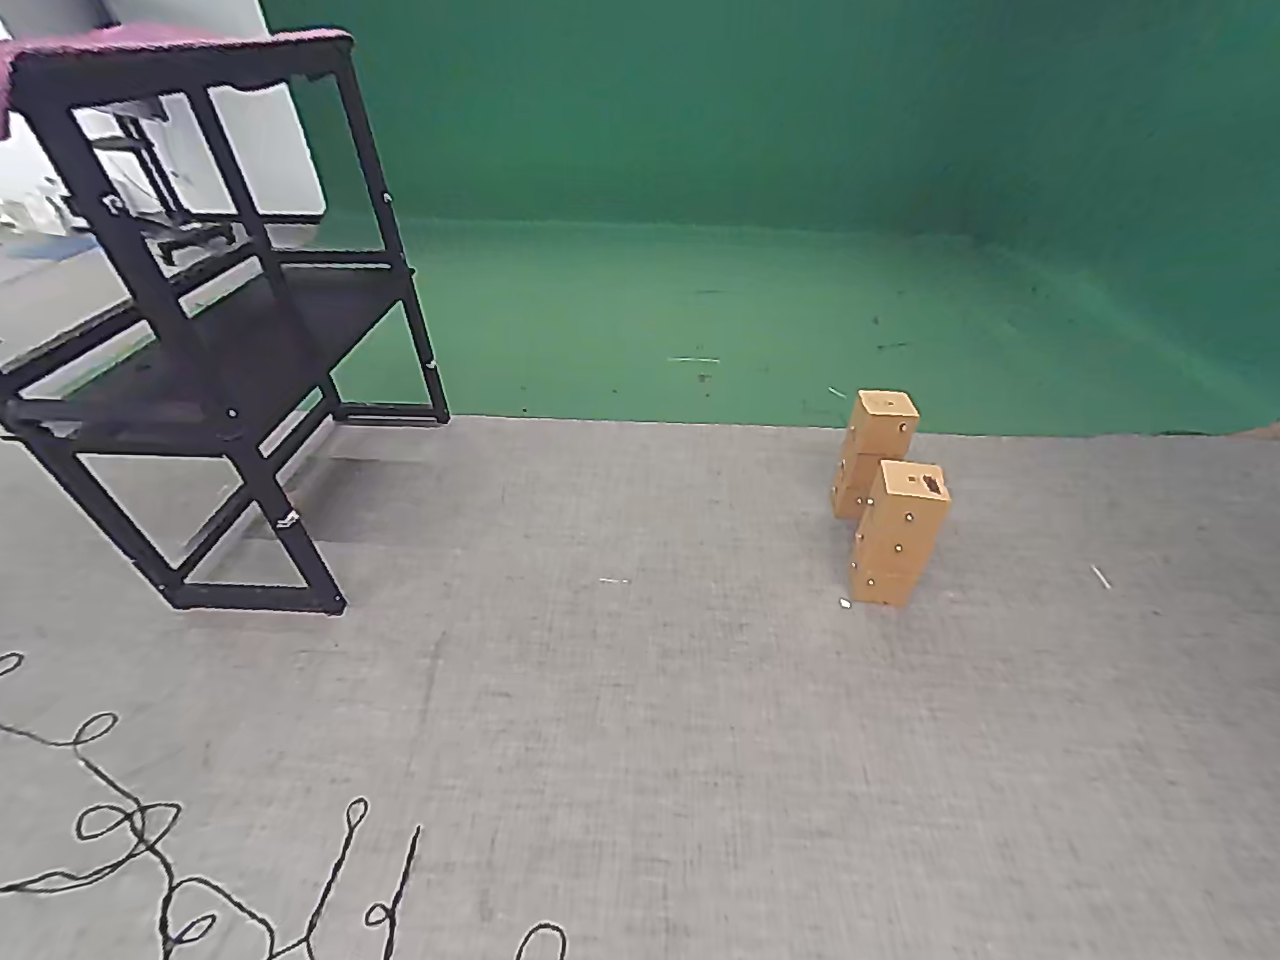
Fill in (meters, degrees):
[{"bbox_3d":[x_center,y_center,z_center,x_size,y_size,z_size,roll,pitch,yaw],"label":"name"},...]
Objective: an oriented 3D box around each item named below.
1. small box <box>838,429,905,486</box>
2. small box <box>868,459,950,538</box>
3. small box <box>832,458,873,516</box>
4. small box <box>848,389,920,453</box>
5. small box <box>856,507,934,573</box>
[{"bbox_3d":[0.882,-0.090,2.073,0.179,0.176,0.168,2,40,4],"label":"small box"},{"bbox_3d":[0.814,0.059,1.654,0.179,0.176,0.168,7,42,11],"label":"small box"},{"bbox_3d":[0.884,0.030,2.182,0.179,0.176,0.168,4,42,6],"label":"small box"},{"bbox_3d":[0.878,-0.213,1.963,0.179,0.176,0.168,3,40,3],"label":"small box"},{"bbox_3d":[0.824,0.183,1.761,0.179,0.176,0.168,7,42,9],"label":"small box"}]
